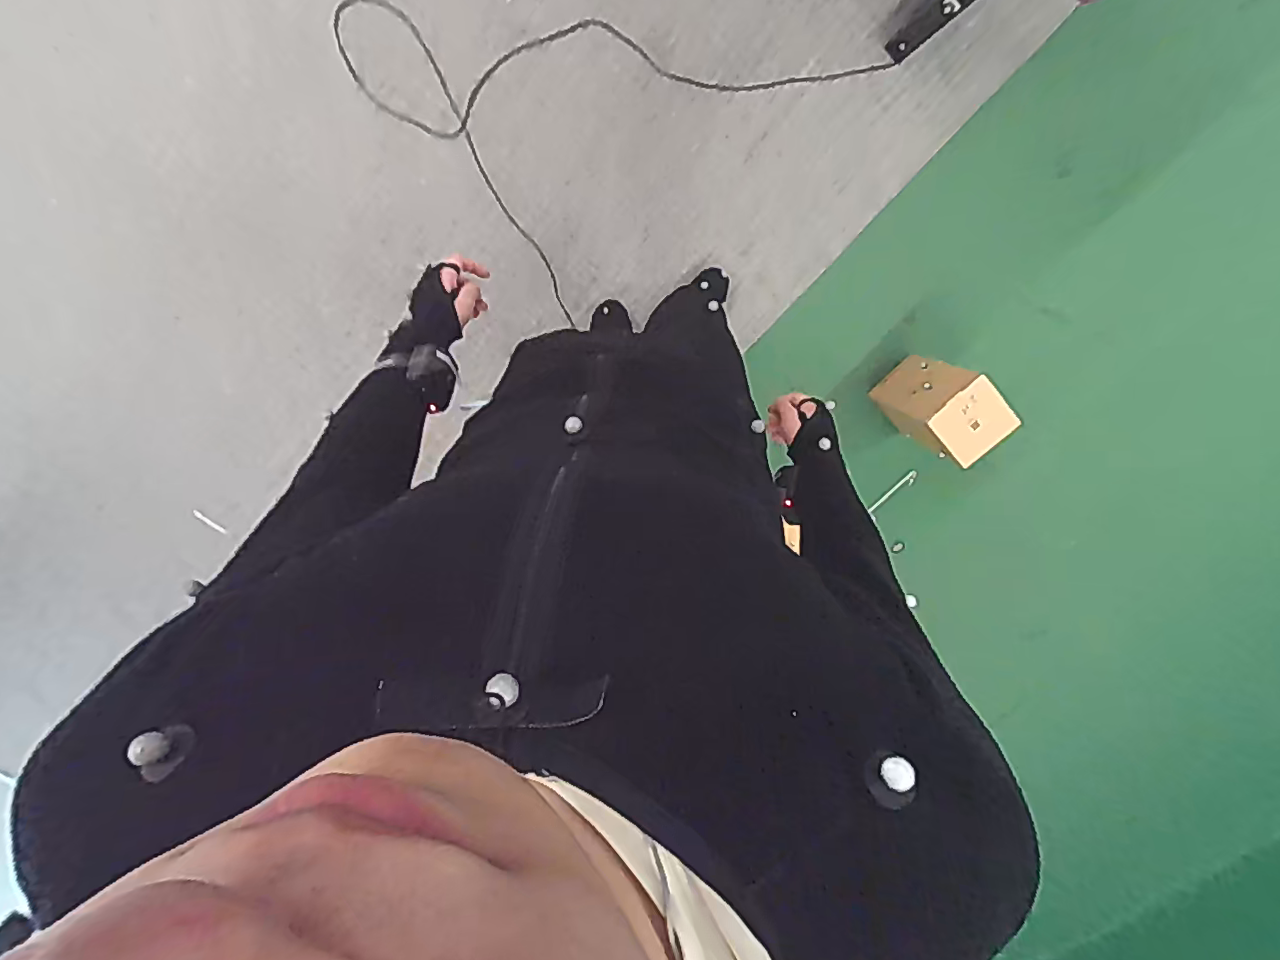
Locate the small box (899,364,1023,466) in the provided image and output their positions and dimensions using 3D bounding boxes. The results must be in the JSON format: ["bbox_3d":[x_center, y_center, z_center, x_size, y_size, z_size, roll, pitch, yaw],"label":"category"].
[{"bbox_3d":[0.796,-0.170,1.358,0.179,0.176,0.168,43,104,-16],"label":"small box"}]
